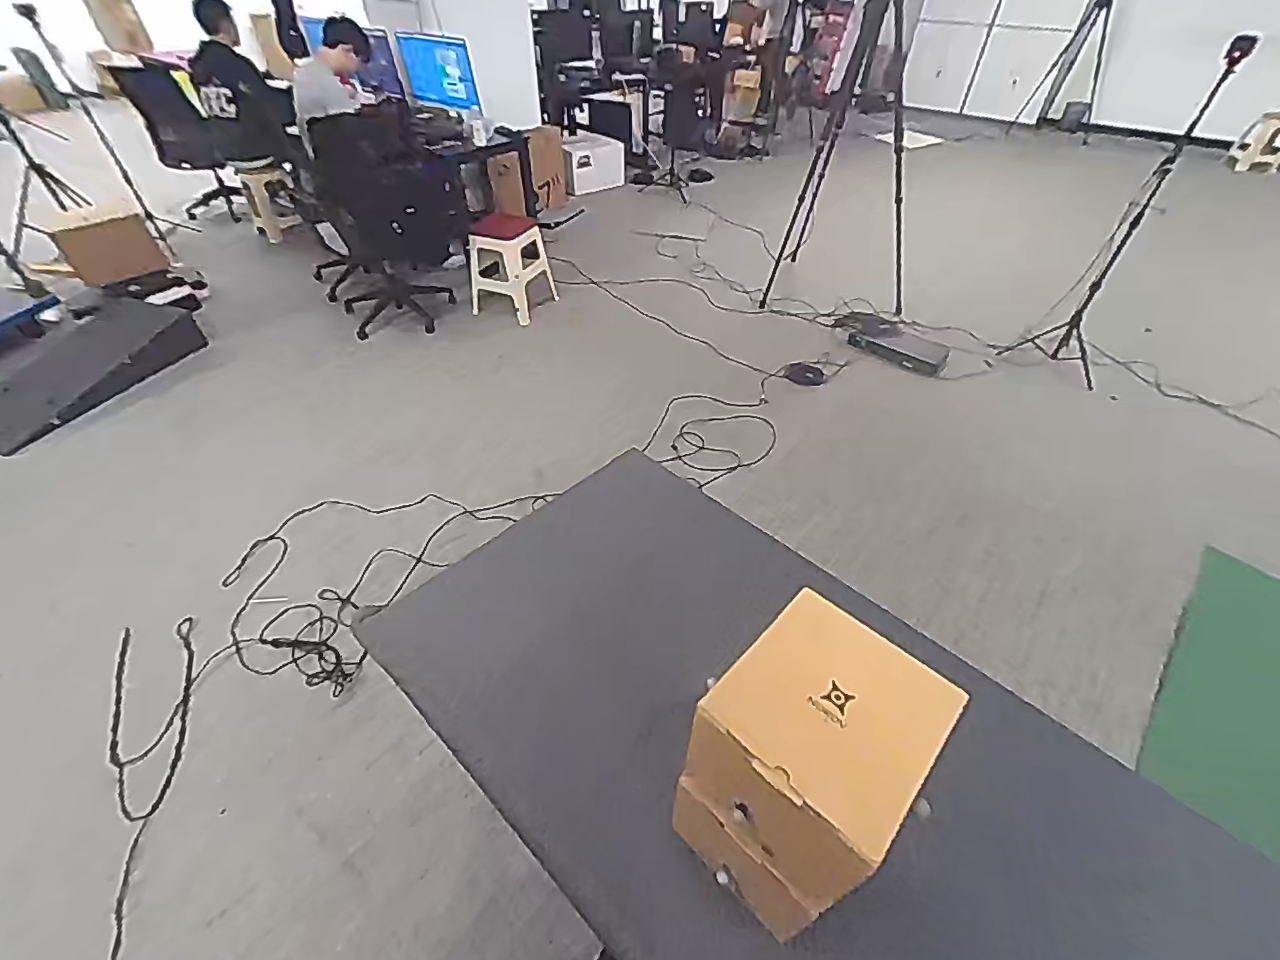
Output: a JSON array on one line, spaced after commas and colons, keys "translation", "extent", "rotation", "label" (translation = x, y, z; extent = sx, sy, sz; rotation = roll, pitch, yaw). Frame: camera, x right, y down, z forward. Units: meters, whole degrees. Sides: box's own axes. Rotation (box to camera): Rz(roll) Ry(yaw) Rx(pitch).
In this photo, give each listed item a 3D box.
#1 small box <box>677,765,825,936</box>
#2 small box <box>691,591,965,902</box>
[{"translation": [0.156, 0.370, 0.625], "extent": [0.168, 0.176, 0.179], "rotation": [34, 52, 30], "label": "small box"}, {"translation": [0.163, 0.249, 0.517], "extent": [0.168, 0.176, 0.179], "rotation": [34, 52, 29], "label": "small box"}]
